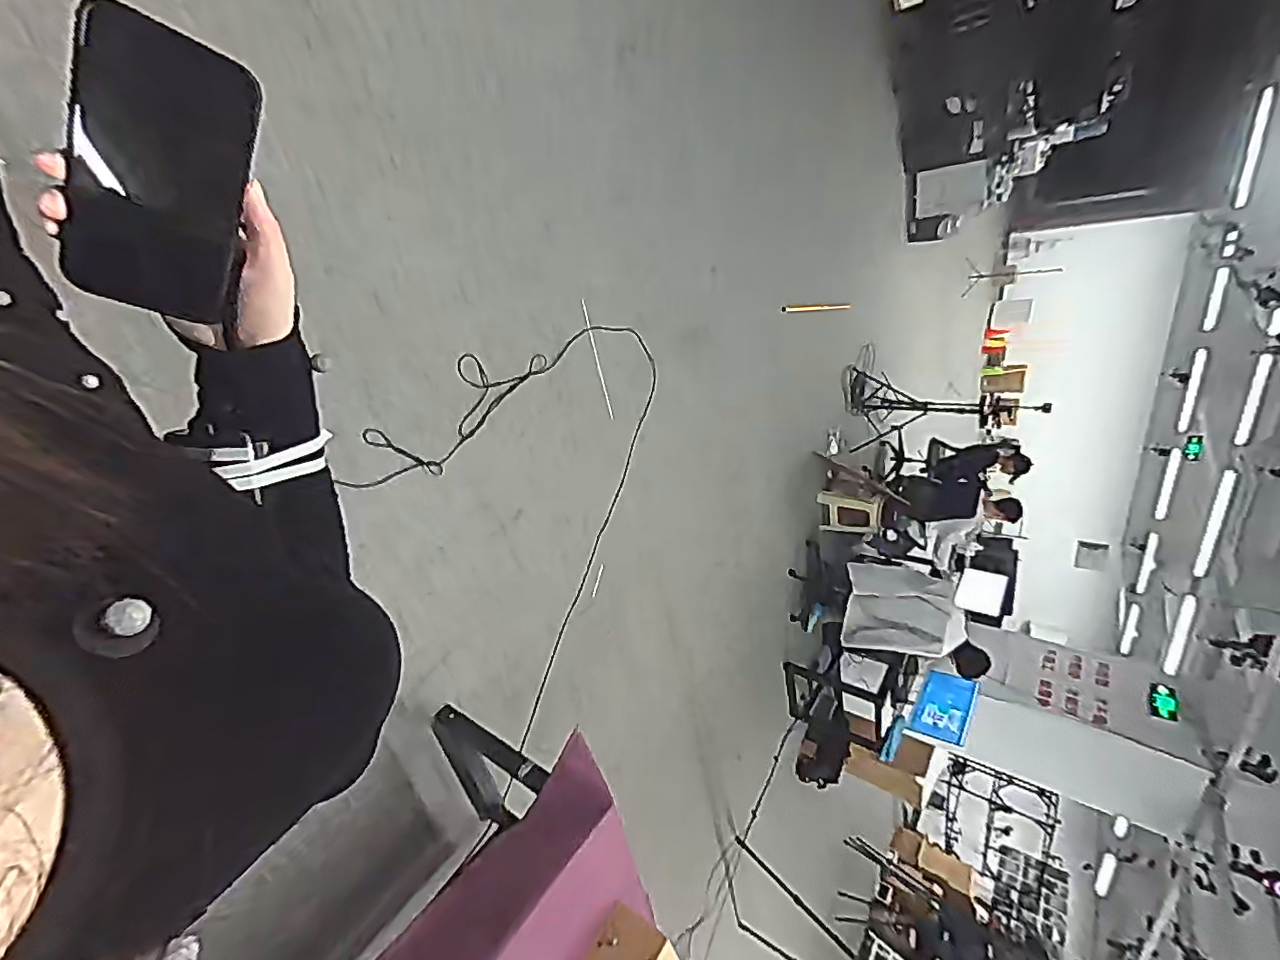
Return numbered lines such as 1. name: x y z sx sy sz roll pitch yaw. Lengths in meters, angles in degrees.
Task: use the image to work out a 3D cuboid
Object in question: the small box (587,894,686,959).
1. small box: -0.008 1.229 1.398 0.168 0.176 0.179 -42 128 -37
